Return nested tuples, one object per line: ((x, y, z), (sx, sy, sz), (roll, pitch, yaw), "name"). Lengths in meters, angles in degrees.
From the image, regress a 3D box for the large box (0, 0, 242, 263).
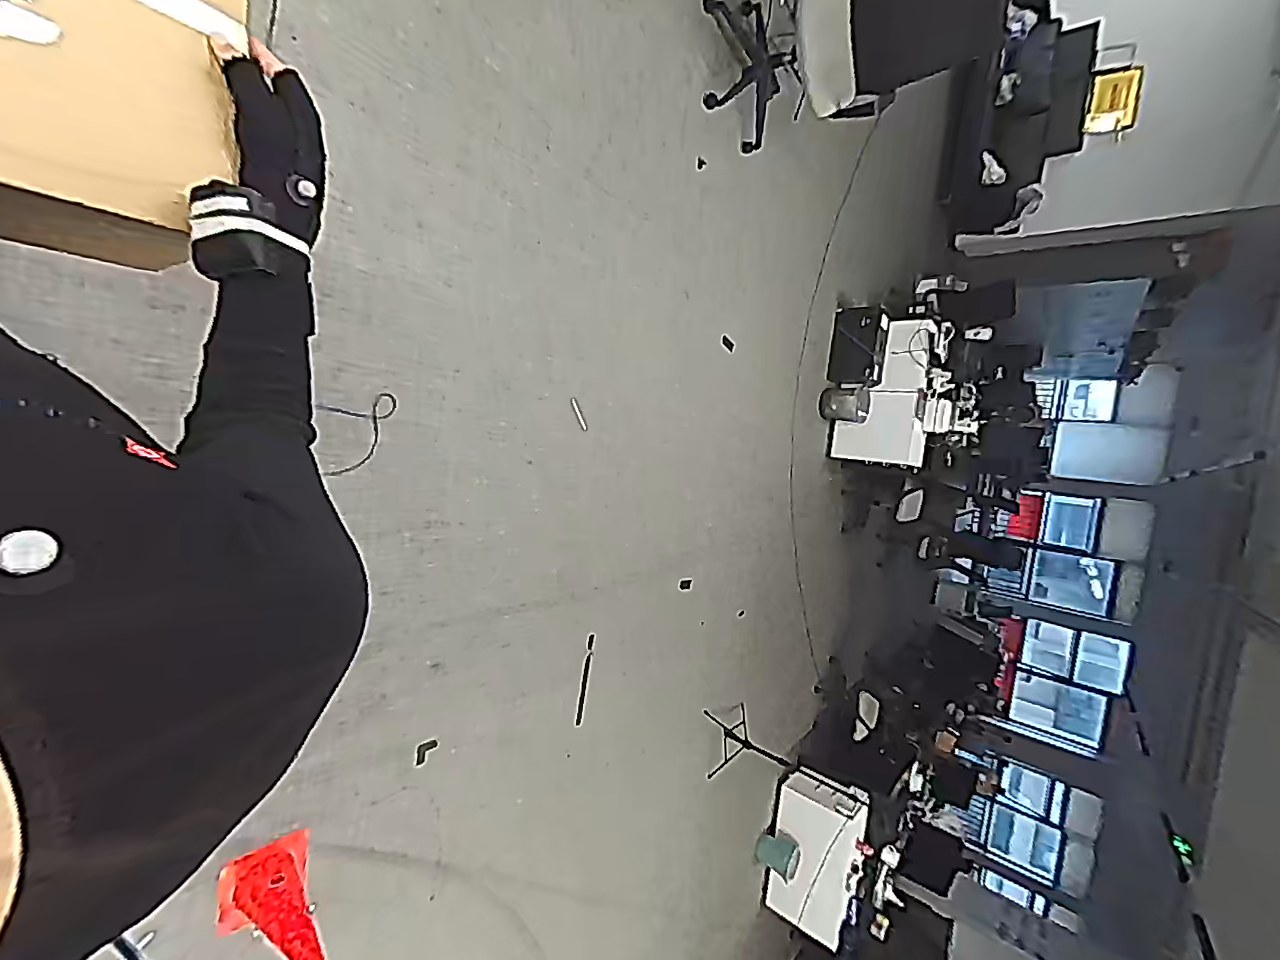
((-0.566, -0.375, 0.375), (0.408, 0.320, 0.320), (-2, 101, -53), "large box")

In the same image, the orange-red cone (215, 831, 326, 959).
((-0.860, 1.073, 1.315), (0.198, 0.360, 0.199), (0, 96, -52), "orange-red cone")
